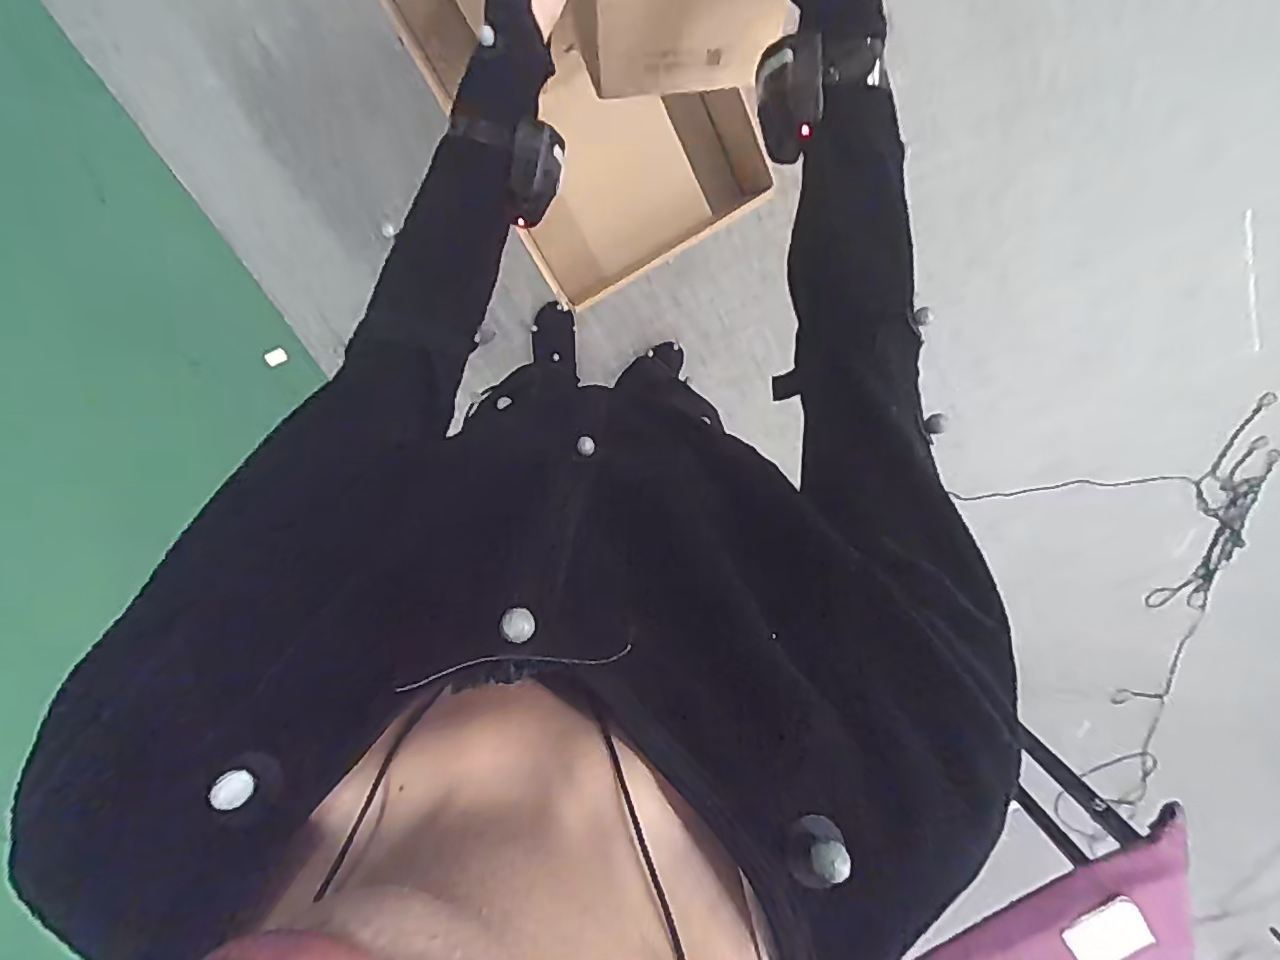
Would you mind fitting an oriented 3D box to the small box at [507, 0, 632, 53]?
[{"bbox_3d":[-0.090,-0.634,0.616,0.168,0.176,0.179,-35,114,4],"label":"small box"}]
